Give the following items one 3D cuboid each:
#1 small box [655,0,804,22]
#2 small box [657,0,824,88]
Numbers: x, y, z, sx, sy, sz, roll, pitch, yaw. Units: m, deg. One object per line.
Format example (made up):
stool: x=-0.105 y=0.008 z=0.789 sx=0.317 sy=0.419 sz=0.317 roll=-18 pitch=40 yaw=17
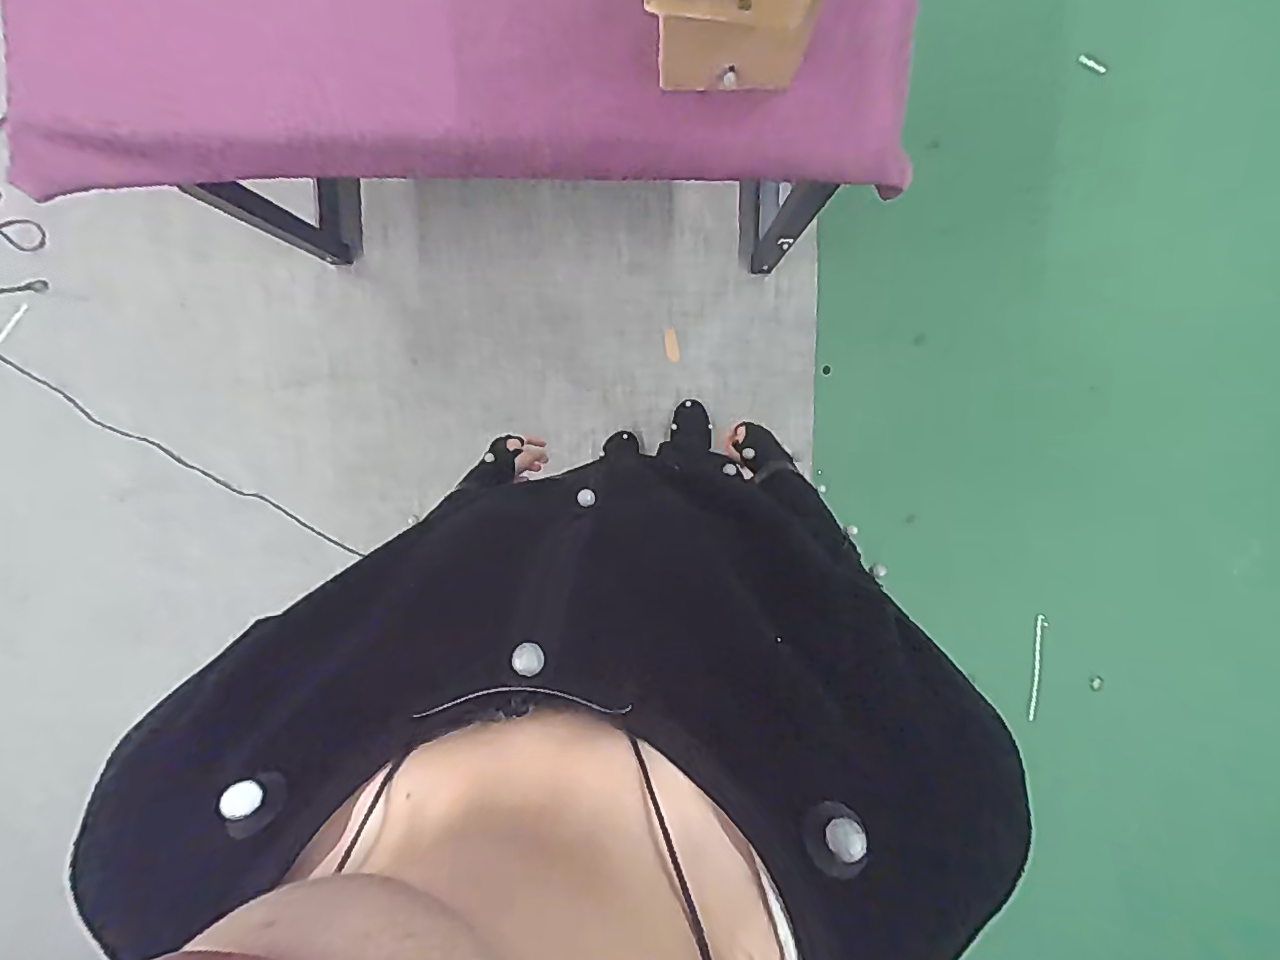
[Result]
small box: x=0.091 y=-0.557 z=0.465 sx=0.168 sy=0.176 sz=0.179 roll=8 pitch=96 yaw=2
small box: x=0.110 y=-0.590 z=0.626 sx=0.179 sy=0.176 sz=0.168 roll=0 pitch=94 yaw=2
